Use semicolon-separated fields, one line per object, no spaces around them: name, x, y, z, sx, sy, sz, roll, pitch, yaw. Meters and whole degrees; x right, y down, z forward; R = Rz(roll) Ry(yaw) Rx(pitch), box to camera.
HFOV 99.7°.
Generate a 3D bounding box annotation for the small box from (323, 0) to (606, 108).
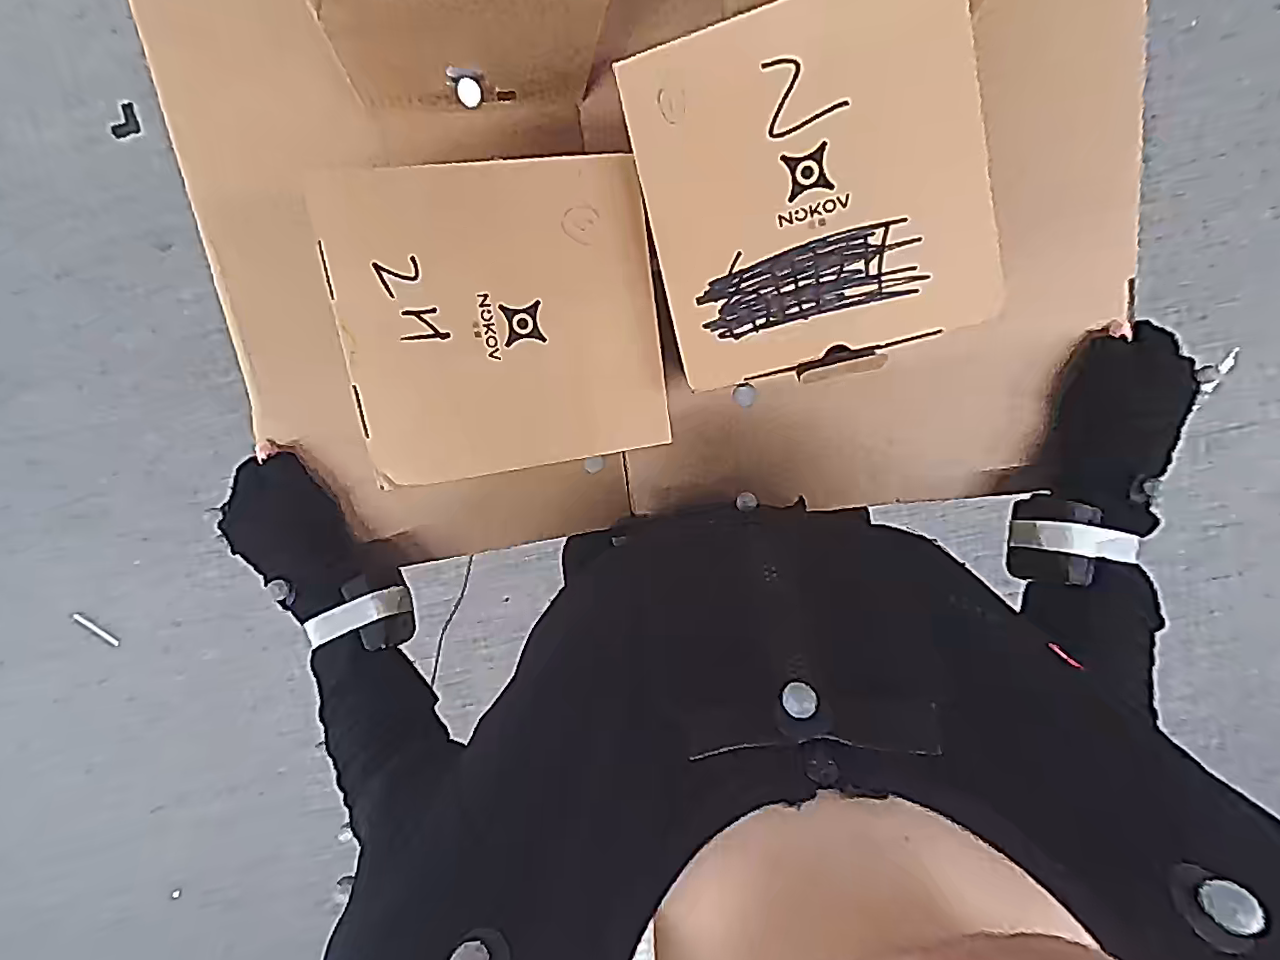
small box;-0.119;-0.362;0.326;0.168;0.176;0.179;-11;104;-11
